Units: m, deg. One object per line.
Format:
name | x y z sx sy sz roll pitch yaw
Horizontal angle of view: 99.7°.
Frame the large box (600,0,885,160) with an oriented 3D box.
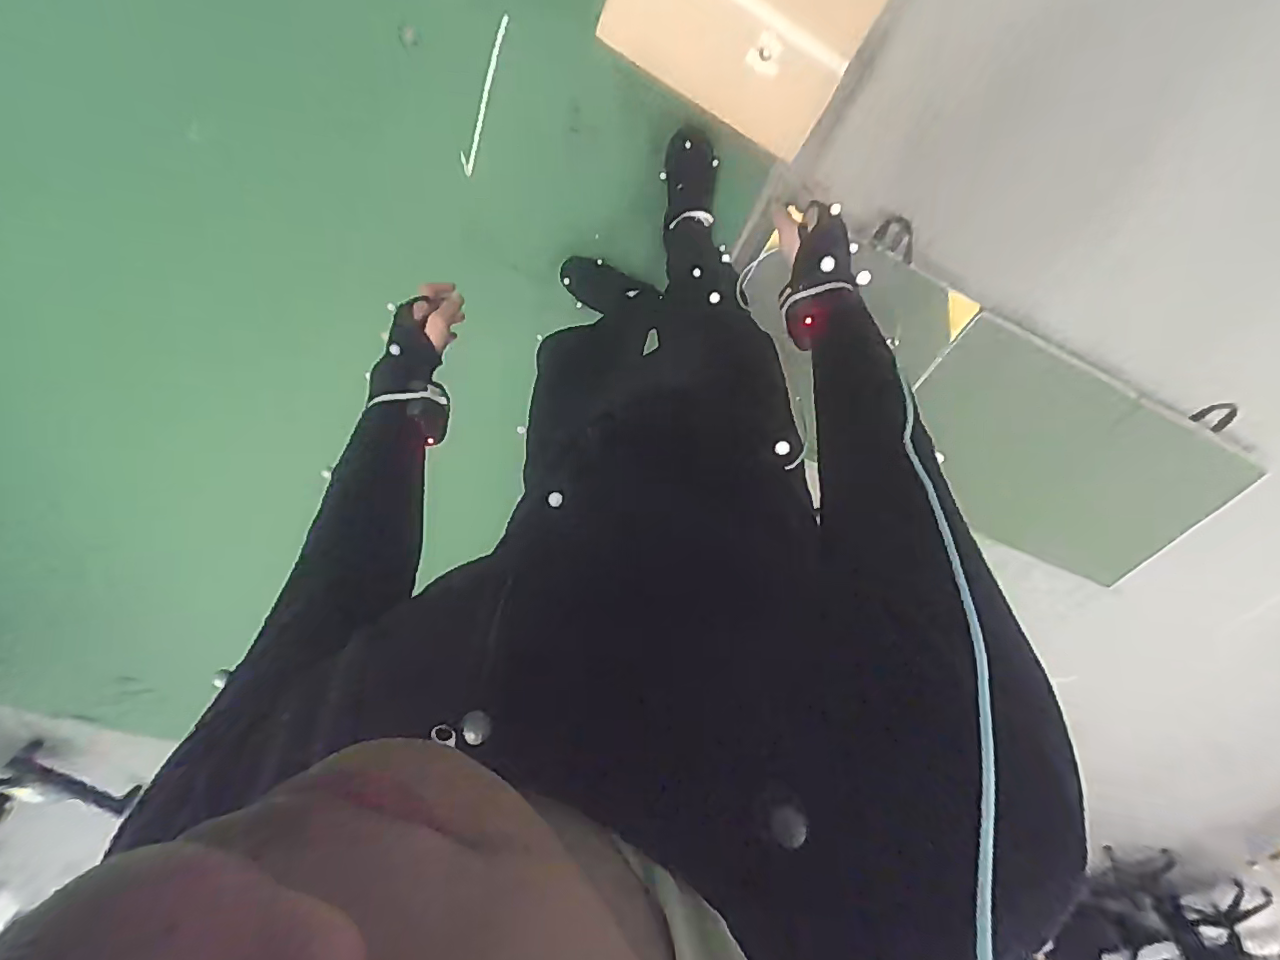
large box | 0.172 -0.859 0.996 0.408 0.320 0.320 23 123 -15
